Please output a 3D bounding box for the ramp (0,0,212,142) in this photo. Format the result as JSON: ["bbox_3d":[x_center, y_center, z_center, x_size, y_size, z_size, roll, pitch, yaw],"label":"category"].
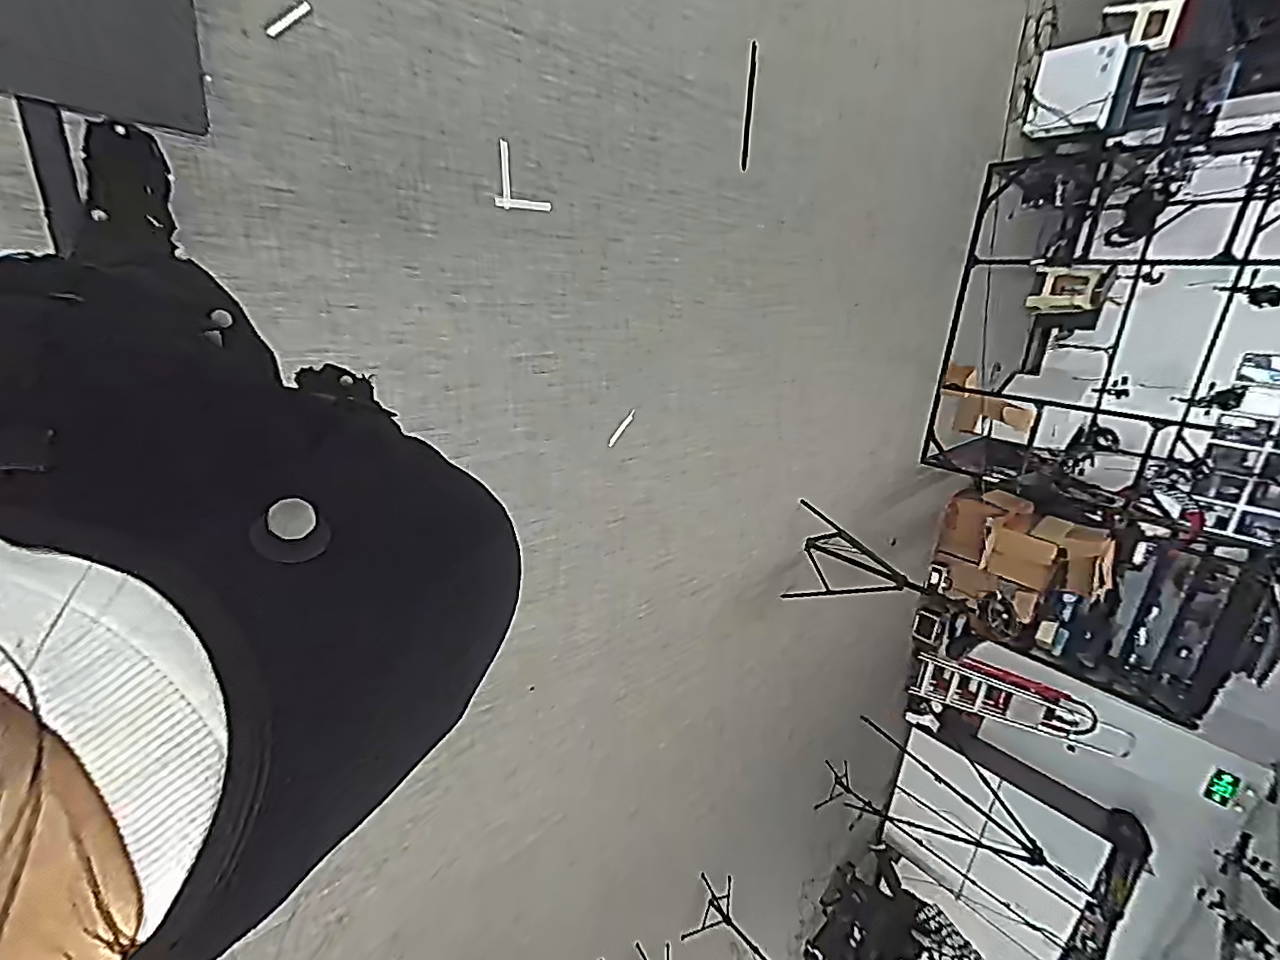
[{"bbox_3d":[-0.930,-1.057,0.692,0.509,0.206,0.991,-15,116,-40],"label":"ramp"}]
